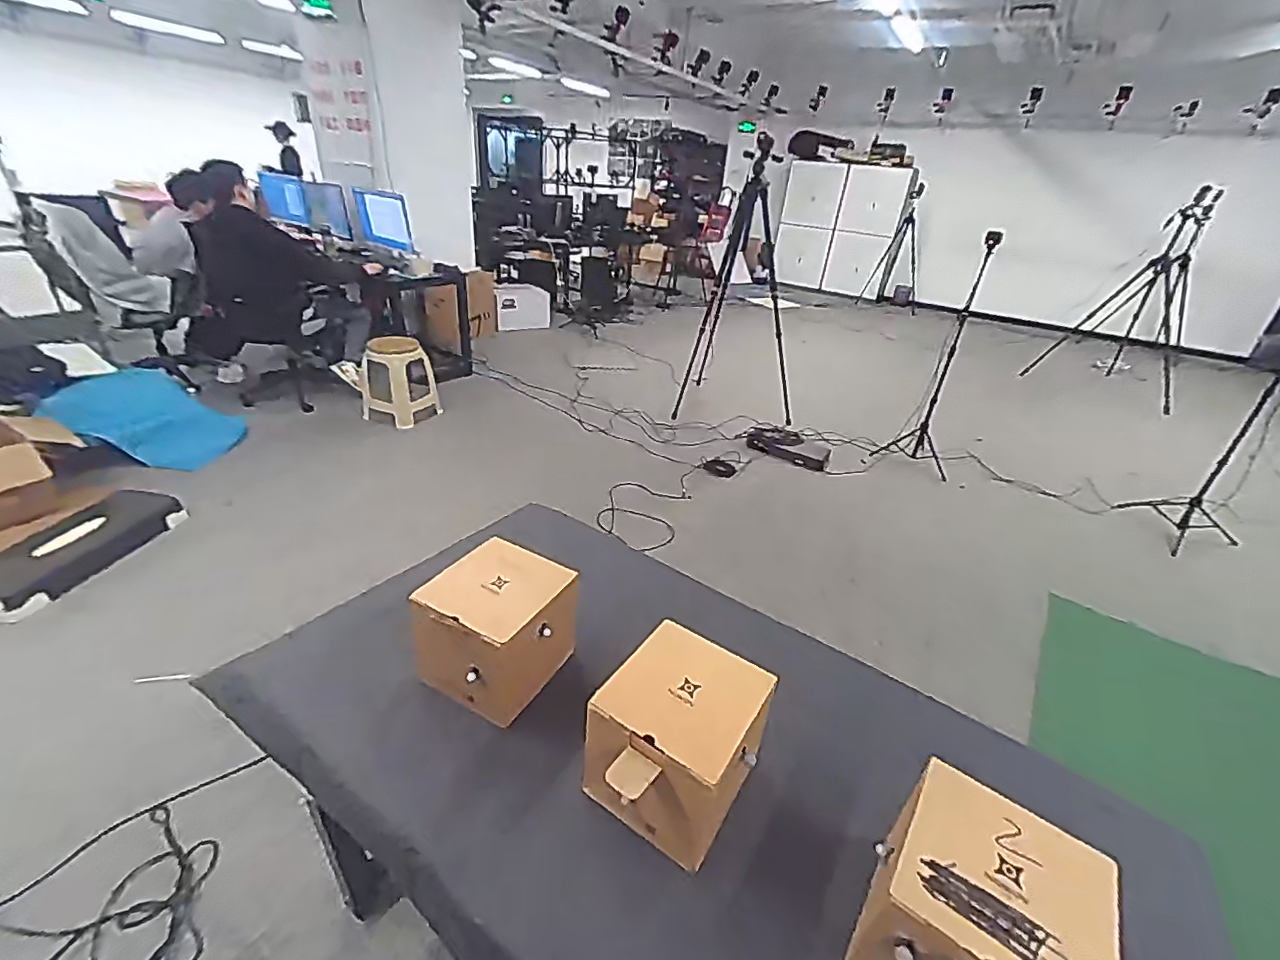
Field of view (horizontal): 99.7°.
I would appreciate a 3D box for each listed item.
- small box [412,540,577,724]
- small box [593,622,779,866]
[{"bbox_3d":[-0.209,0.224,0.812,0.168,0.176,0.179,19,30,21],"label":"small box"},{"bbox_3d":[0.051,0.321,0.678,0.168,0.176,0.179,22,33,27],"label":"small box"}]
